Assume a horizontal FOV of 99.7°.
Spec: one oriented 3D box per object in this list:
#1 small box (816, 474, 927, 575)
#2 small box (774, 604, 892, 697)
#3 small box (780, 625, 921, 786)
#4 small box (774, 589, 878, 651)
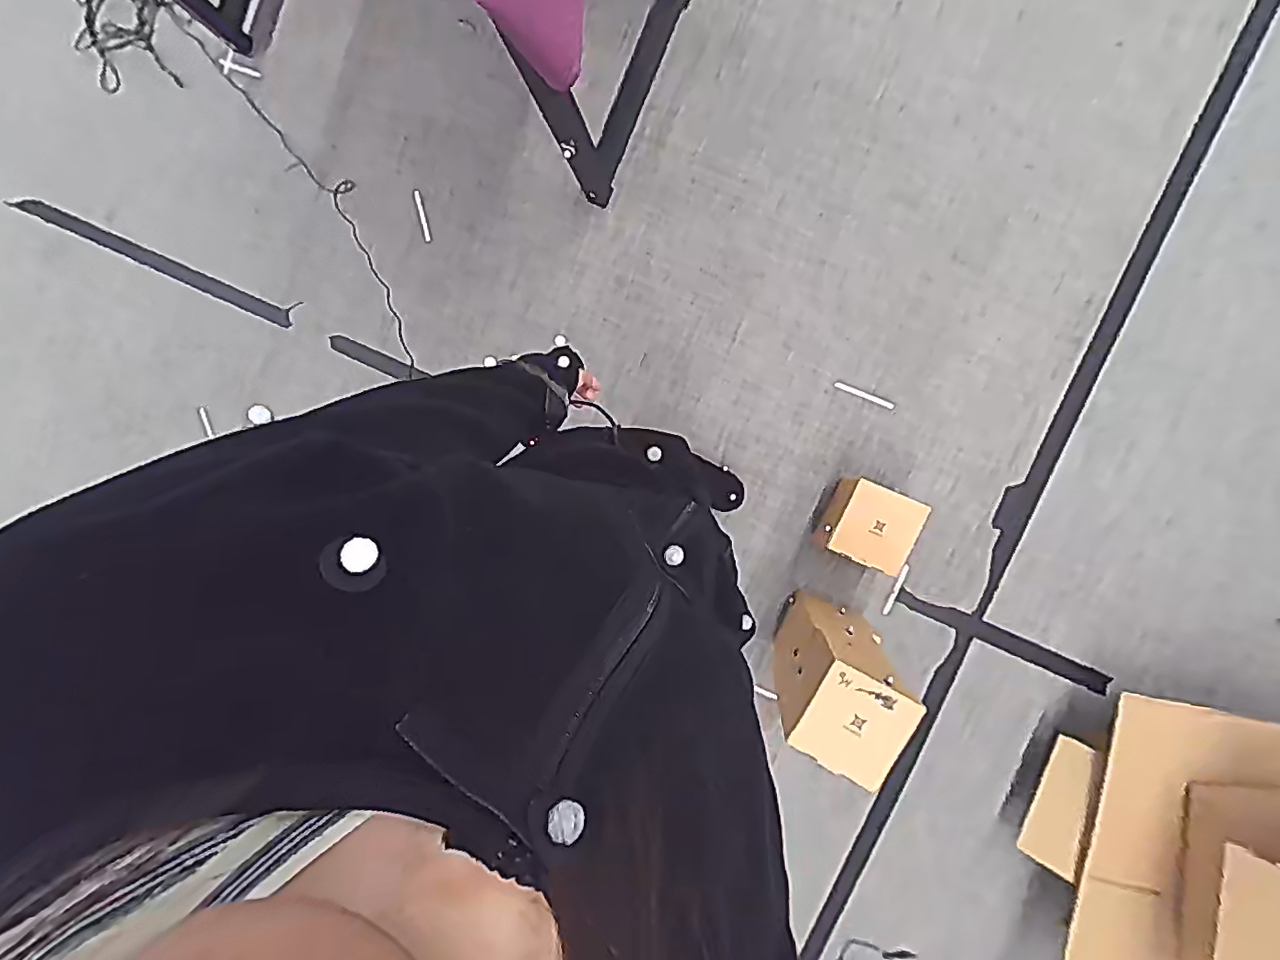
[{"bbox_3d":[0.535,0.095,1.280,0.168,0.176,0.179,24,97,6],"label":"small box"},{"bbox_3d":[0.397,0.391,1.152,0.168,0.176,0.179,25,98,7],"label":"small box"},{"bbox_3d":[0.370,0.401,0.991,0.168,0.176,0.179,28,99,6],"label":"small box"},{"bbox_3d":[0.439,0.382,1.312,0.179,0.176,0.168,23,97,5],"label":"small box"}]
